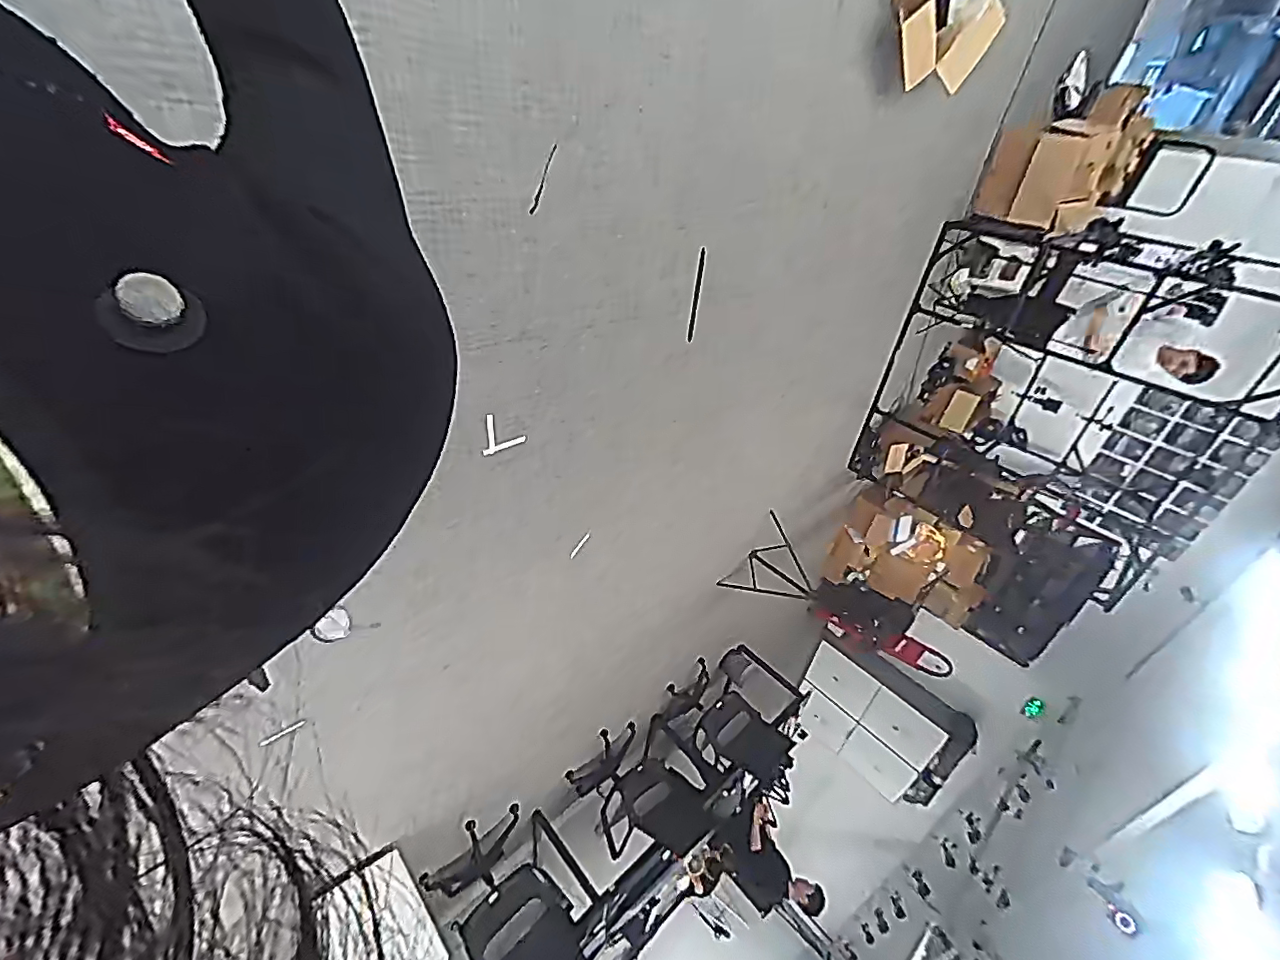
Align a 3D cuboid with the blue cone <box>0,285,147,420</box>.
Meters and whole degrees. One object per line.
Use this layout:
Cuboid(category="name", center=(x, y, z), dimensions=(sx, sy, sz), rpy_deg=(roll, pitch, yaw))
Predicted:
Cuboid(category="blue cone", center=(-0.978, -0.192, 0.947), dimensions=(0.193, 0.380, 0.192), rpy_deg=(-21, 134, -39))
